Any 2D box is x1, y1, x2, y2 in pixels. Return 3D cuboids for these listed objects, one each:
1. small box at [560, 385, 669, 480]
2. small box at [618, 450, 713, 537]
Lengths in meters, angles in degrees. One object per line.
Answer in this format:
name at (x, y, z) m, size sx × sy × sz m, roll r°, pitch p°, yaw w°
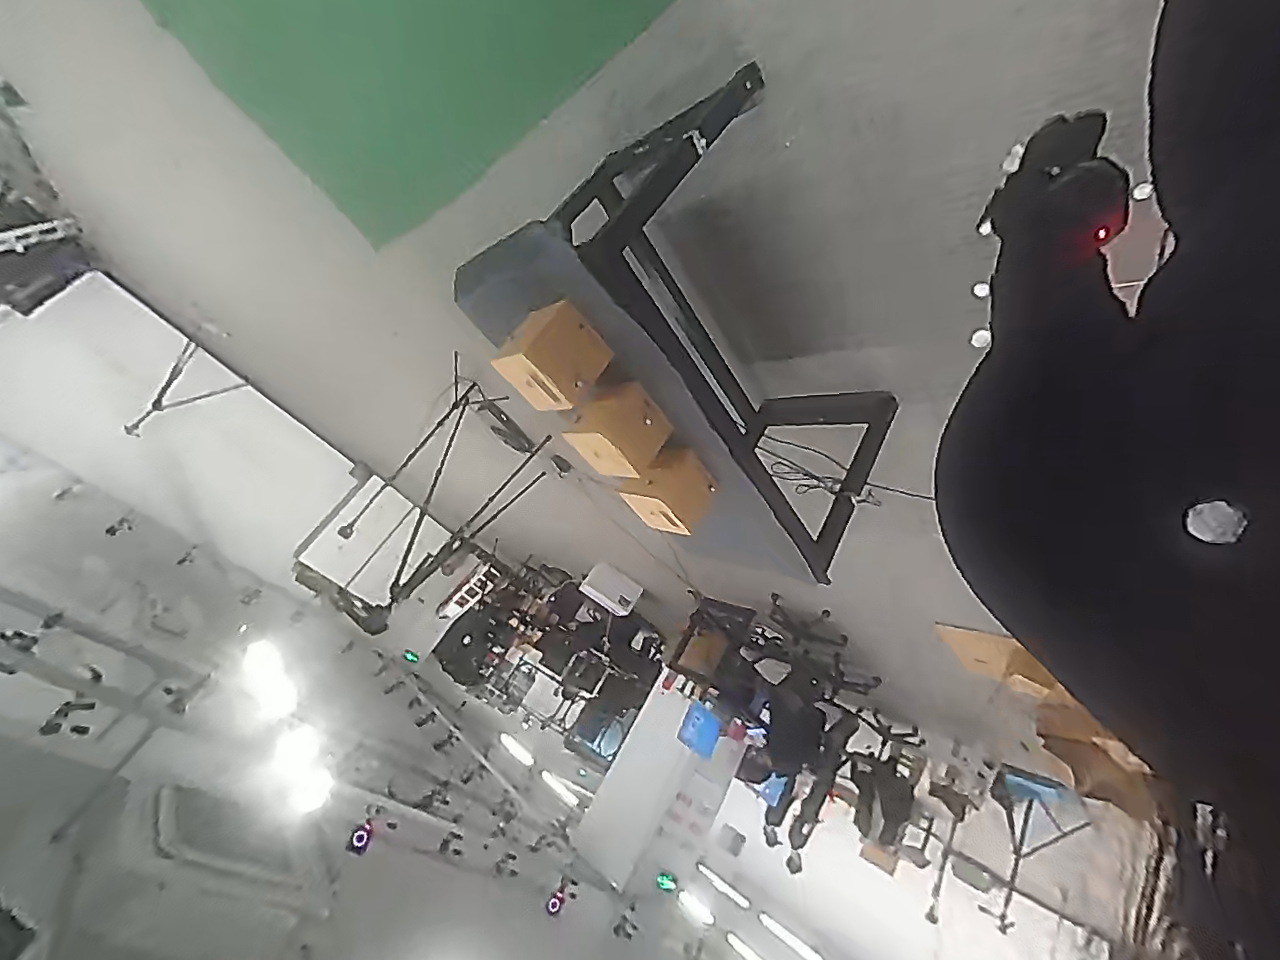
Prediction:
small box at (-0.059, -0.120, 1.351) m, size 0.179 × 0.176 × 0.168 m, roll 4°, pitch 144°, yaw 49°
small box at (0.078, 0.033, 1.480) m, size 0.179 × 0.176 × 0.168 m, roll 7°, pitch 146°, yaw 48°
